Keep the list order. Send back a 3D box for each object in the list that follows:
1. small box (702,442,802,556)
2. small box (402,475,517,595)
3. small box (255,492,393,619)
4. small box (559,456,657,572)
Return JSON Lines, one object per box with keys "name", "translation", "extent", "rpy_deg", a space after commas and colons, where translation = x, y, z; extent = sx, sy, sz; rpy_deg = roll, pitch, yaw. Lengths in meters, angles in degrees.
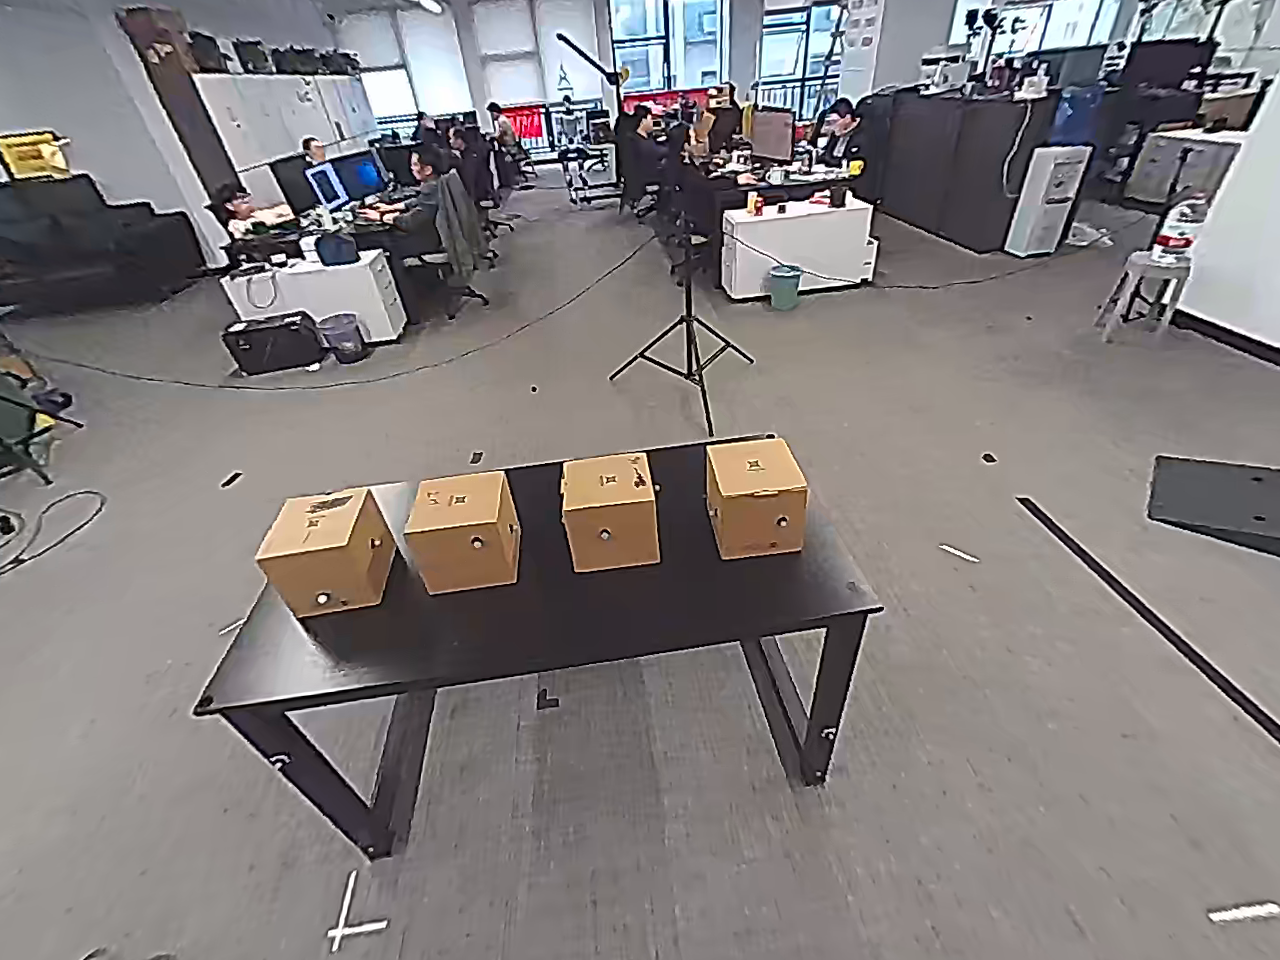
{"name": "small box", "translation": [0.224, 0.044, 1.119], "extent": [0.168, 0.176, 0.179], "rpy_deg": [-6, 36, -1]}
{"name": "small box", "translation": [-0.355, 0.112, 1.103], "extent": [0.179, 0.176, 0.168], "rpy_deg": [-8, 36, -4]}
{"name": "small box", "translation": [-0.618, 0.151, 1.088], "extent": [0.168, 0.176, 0.179], "rpy_deg": [-9, 38, -4]}
{"name": "small box", "translation": [-0.065, 0.073, 1.120], "extent": [0.179, 0.176, 0.168], "rpy_deg": [-8, 37, -1]}
